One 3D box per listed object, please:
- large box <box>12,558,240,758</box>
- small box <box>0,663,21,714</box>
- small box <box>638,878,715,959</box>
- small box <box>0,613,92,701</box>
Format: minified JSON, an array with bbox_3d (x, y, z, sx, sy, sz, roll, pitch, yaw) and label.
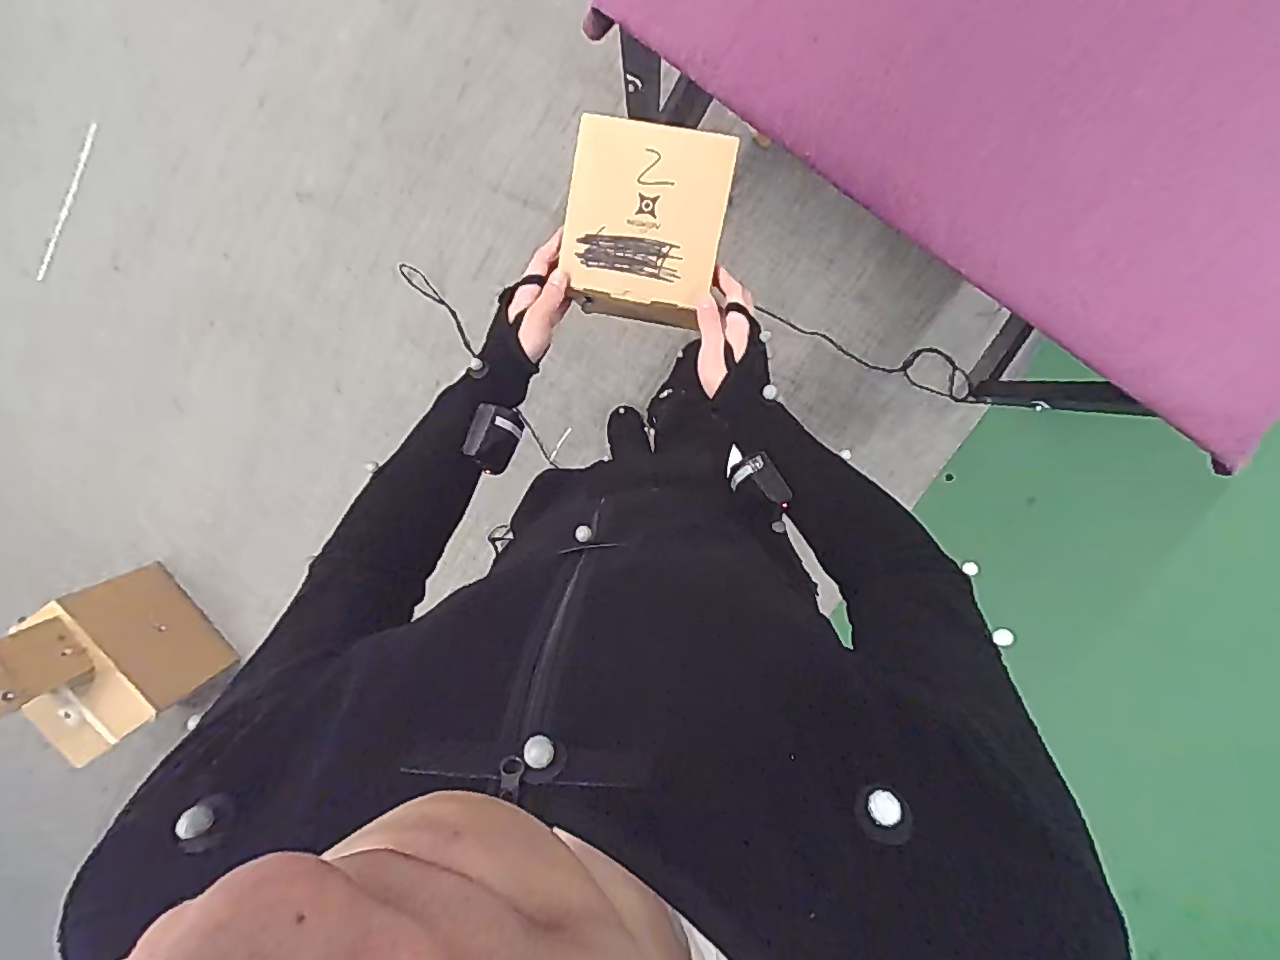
[{"bbox_3d":[-1.541,0.510,1.612,0.320,0.320,0.408,-34,100,8],"label":"large box"},{"bbox_3d":[-1.552,0.497,1.193,0.179,0.176,0.168,-27,101,6],"label":"small box"},{"bbox_3d":[0.103,1.246,1.479,0.168,0.176,0.179,-20,99,6],"label":"small box"},{"bbox_3d":[-1.560,0.465,1.353,0.179,0.176,0.168,-27,100,4],"label":"small box"}]
